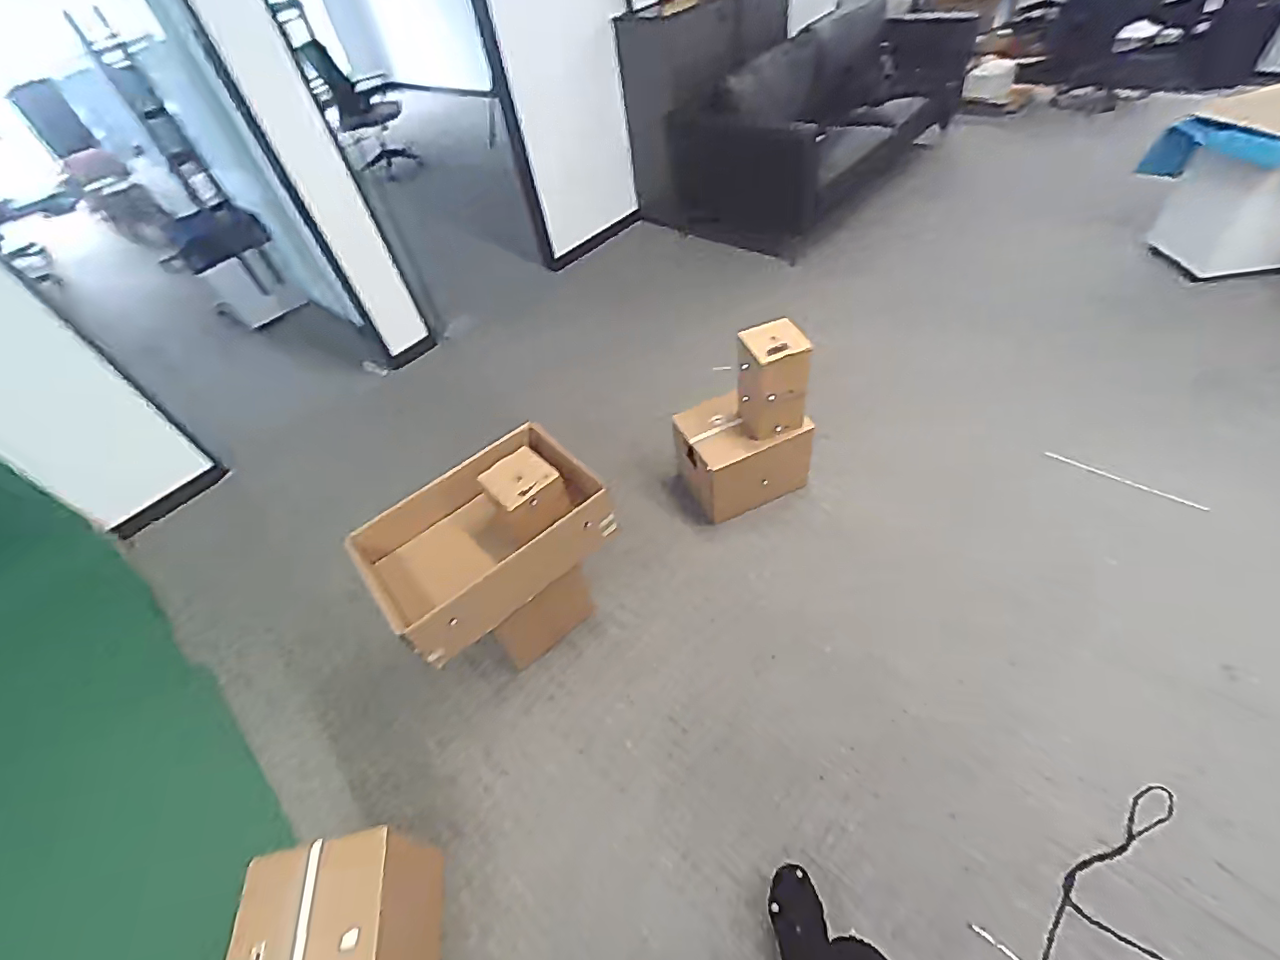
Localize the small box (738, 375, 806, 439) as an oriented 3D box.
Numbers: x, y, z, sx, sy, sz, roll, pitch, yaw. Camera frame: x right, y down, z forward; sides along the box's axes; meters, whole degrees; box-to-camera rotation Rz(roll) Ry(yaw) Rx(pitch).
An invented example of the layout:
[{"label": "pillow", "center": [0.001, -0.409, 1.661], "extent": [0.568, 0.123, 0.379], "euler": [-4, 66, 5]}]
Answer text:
[{"label": "small box", "center": [0.434, -0.269, 1.808], "extent": [0.168, 0.176, 0.179], "euler": [-19, 50, -6]}]

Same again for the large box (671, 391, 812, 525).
[{"label": "large box", "center": [0.370, -0.101, 2.000], "extent": [0.408, 0.320, 0.320], "euler": [-24, 49, -10]}]

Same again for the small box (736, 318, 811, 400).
[{"label": "small box", "center": [0.411, -0.369, 1.680], "extent": [0.168, 0.176, 0.179], "euler": [-19, 49, -6]}]
